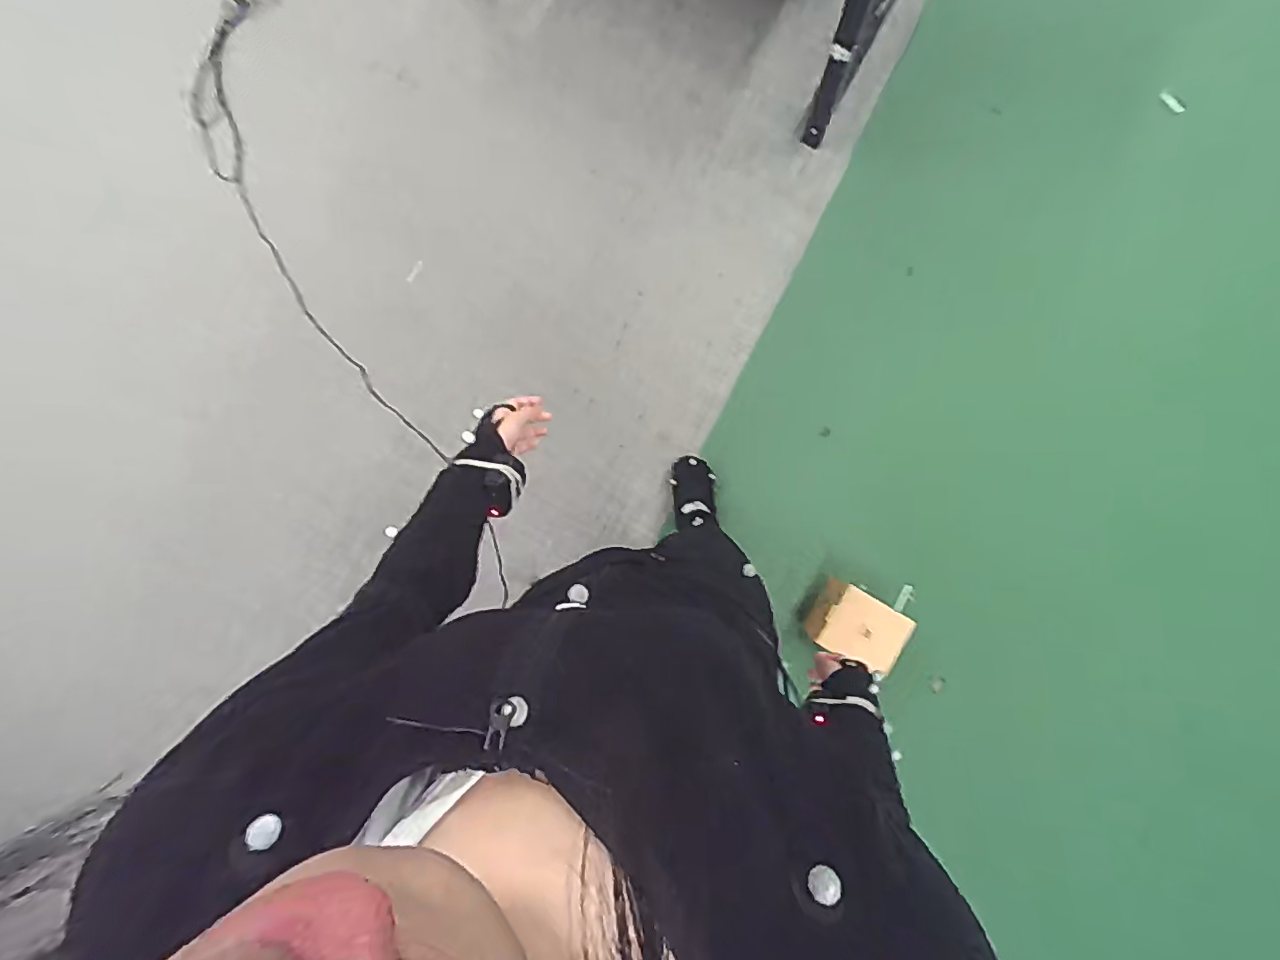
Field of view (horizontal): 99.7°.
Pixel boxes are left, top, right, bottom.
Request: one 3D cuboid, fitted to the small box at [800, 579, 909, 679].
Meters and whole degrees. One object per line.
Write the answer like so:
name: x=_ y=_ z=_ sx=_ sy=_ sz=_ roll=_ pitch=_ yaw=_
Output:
small box: x=0.536 y=0.367 z=1.374 sx=0.179 sy=0.176 sz=0.168 roll=30 pitch=90 yaw=6
